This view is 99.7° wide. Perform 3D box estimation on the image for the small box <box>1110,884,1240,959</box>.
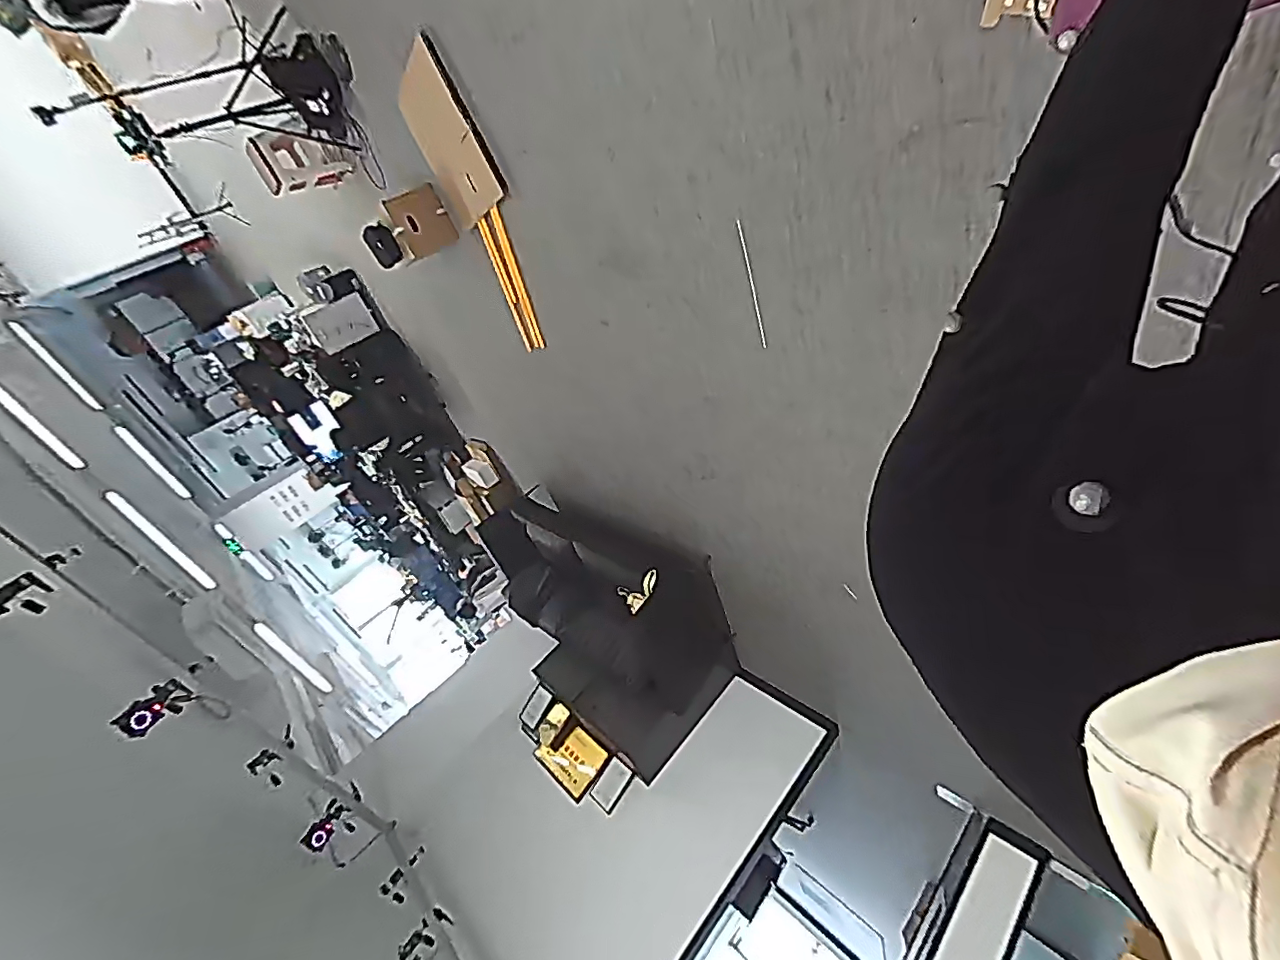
[{"bbox_3d":[1.208,1.069,1.225,0.168,0.176,0.179,23,144,43],"label":"small box"}]
